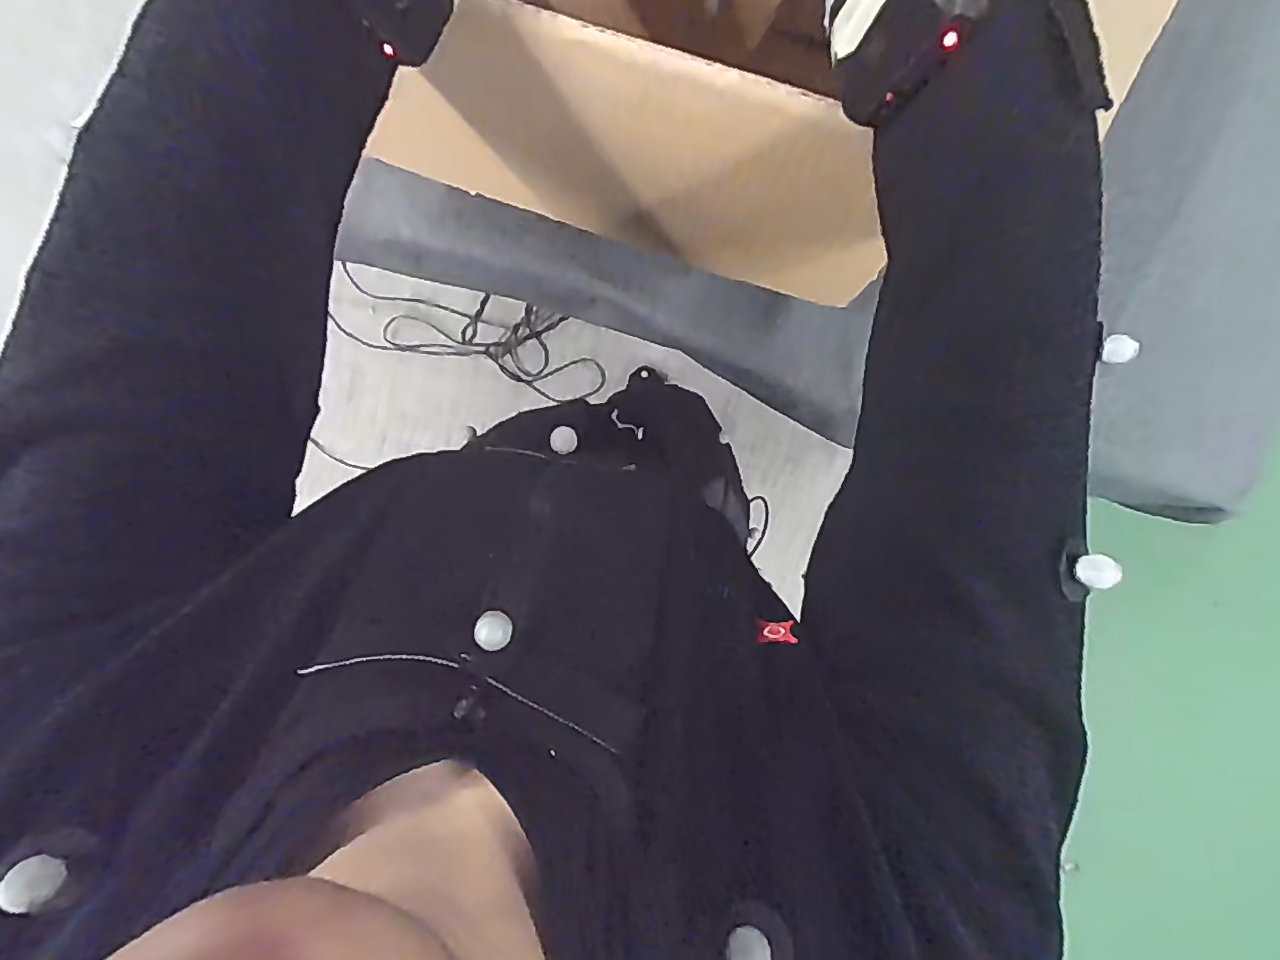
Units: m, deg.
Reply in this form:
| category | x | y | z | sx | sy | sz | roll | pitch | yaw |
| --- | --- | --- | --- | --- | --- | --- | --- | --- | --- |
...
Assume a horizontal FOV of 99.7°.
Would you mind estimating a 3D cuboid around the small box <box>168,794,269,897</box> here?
| category | x | y | z | sx | sy | sz | roll | pitch | yaw |
| --- | --- | --- | --- | --- | --- | --- | --- | --- | --- |
| small box | -1.290 | 1.117 | 1.665 | 0.168 | 0.176 | 0.179 | 23 | 105 | 0 |
